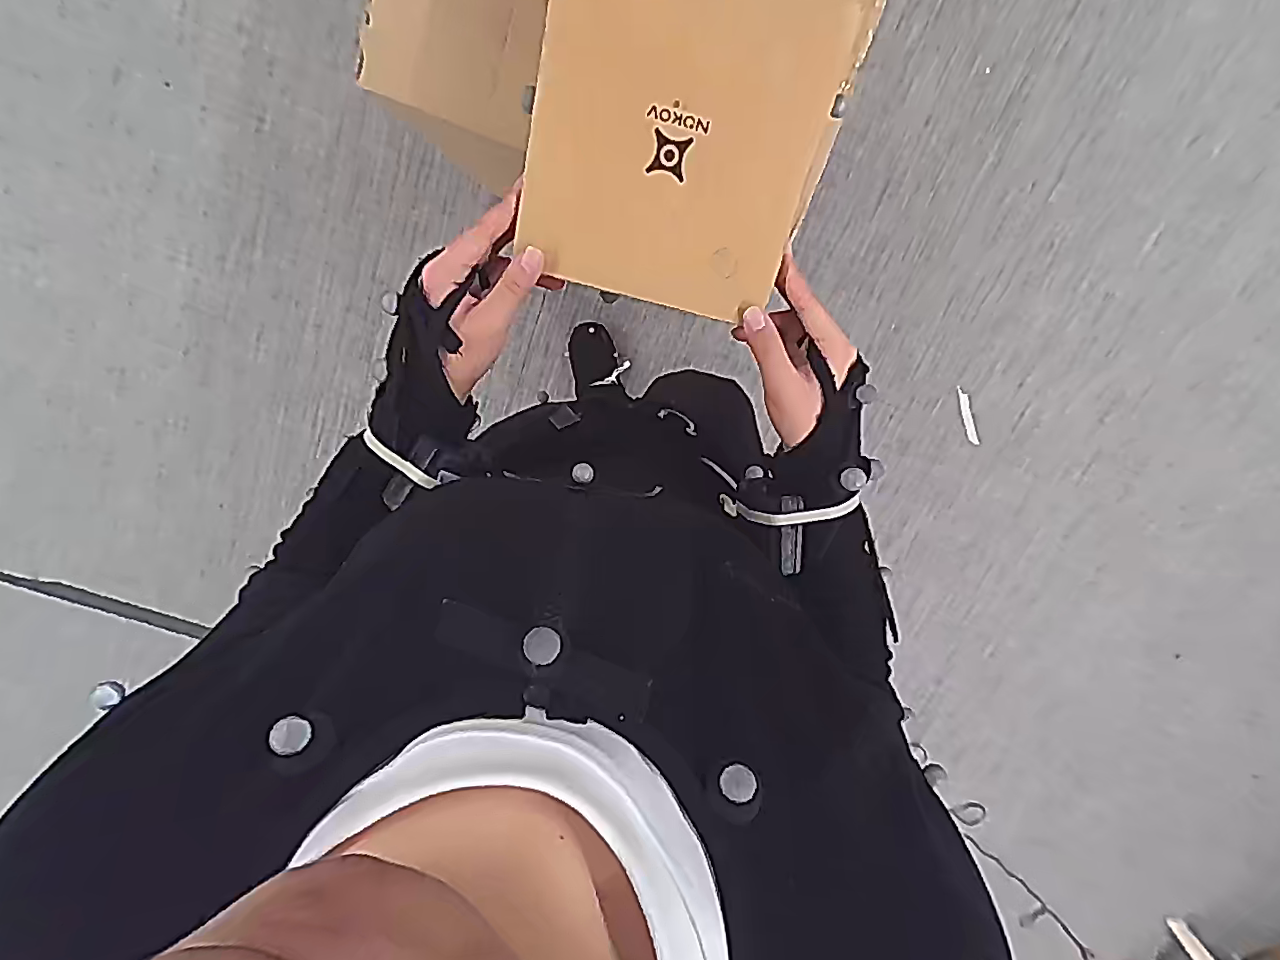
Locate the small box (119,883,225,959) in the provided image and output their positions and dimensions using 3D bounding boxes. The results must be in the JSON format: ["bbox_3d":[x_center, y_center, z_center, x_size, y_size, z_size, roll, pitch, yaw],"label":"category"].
[{"bbox_3d":[-1.329,1.299,1.539,0.168,0.176,0.179,20,106,-9],"label":"small box"}]

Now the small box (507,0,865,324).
[{"bbox_3d":[0.020,-0.225,0.374,0.168,0.176,0.179,14,113,-4],"label":"small box"}]
